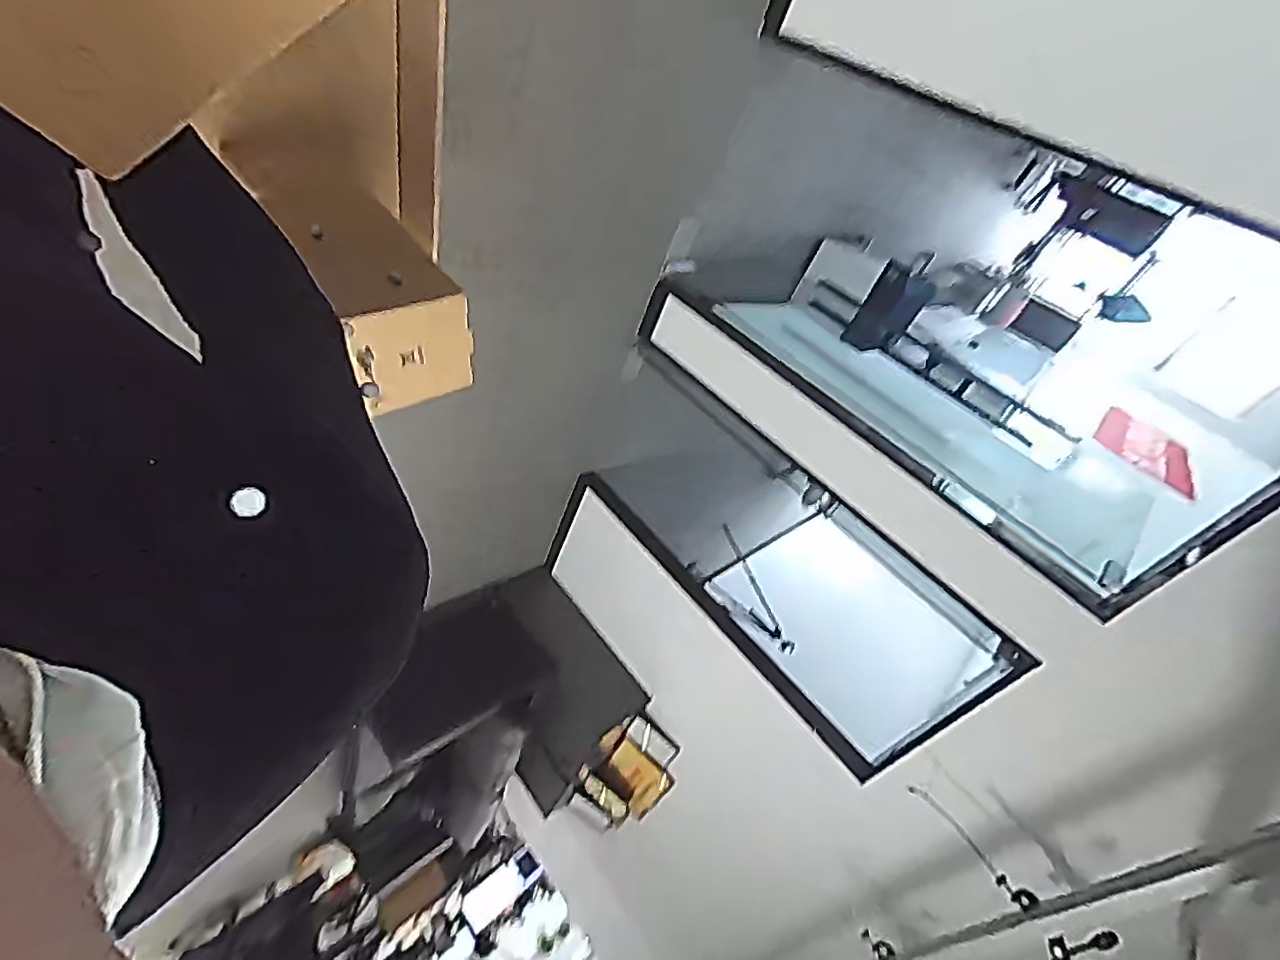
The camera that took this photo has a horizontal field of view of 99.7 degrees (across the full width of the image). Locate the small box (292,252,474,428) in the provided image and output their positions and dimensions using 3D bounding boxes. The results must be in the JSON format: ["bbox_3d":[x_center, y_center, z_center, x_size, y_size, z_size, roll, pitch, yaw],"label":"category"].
[{"bbox_3d":[-0.371,-0.214,0.800,0.179,0.176,0.168,-29,150,-32],"label":"small box"}]
